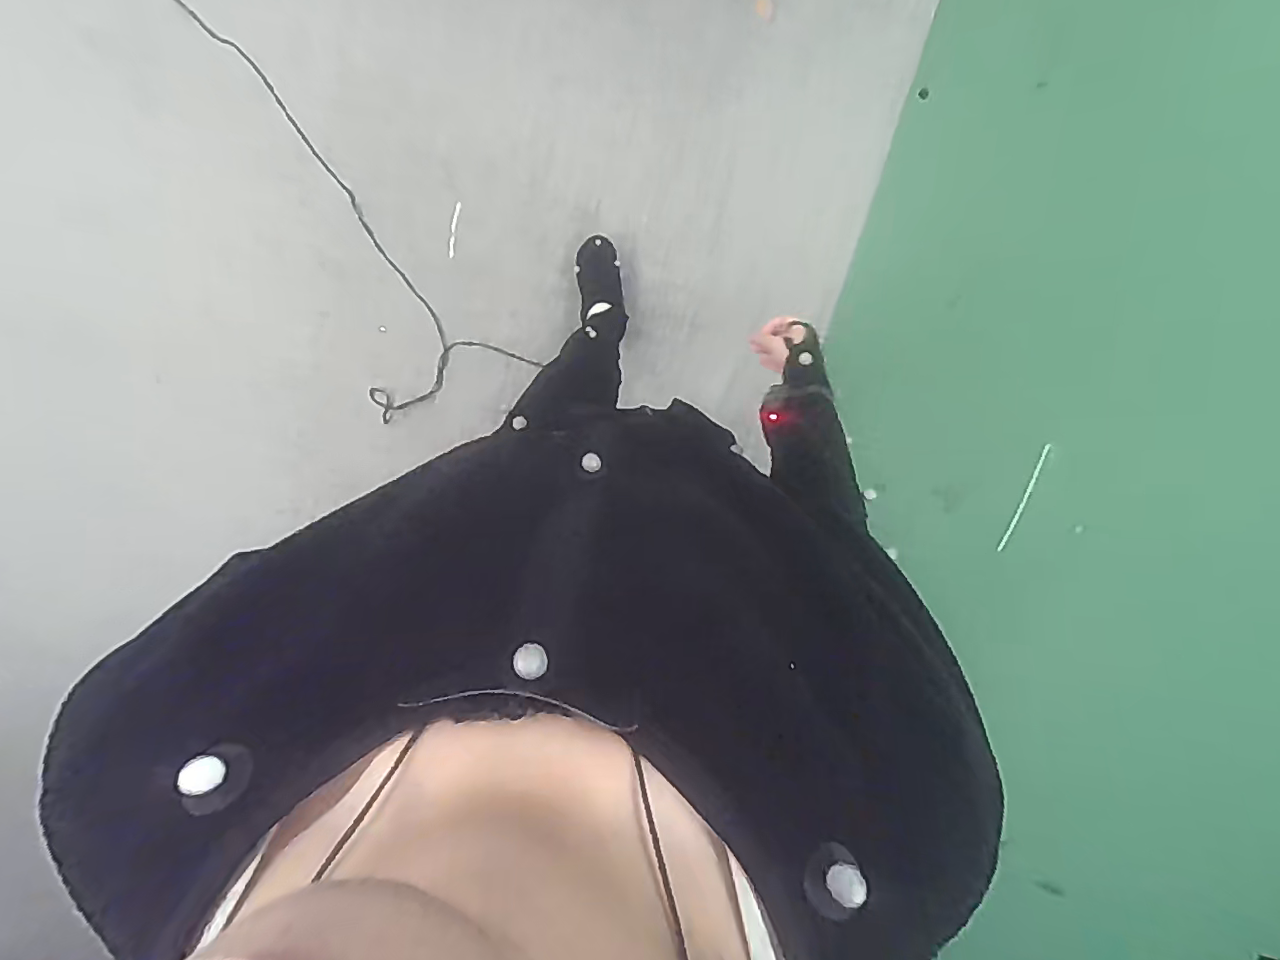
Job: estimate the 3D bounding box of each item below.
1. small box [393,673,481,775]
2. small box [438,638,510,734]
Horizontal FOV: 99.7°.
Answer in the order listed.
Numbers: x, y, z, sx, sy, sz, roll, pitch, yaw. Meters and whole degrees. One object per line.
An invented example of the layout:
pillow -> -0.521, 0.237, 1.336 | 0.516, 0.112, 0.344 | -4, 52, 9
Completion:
small box -> -0.523, 0.635, 1.418 | 0.168, 0.176, 0.179 | 2, 104, 1
small box -> -0.493, 0.590, 1.575 | 0.168, 0.176, 0.179 | 20, 104, -2
